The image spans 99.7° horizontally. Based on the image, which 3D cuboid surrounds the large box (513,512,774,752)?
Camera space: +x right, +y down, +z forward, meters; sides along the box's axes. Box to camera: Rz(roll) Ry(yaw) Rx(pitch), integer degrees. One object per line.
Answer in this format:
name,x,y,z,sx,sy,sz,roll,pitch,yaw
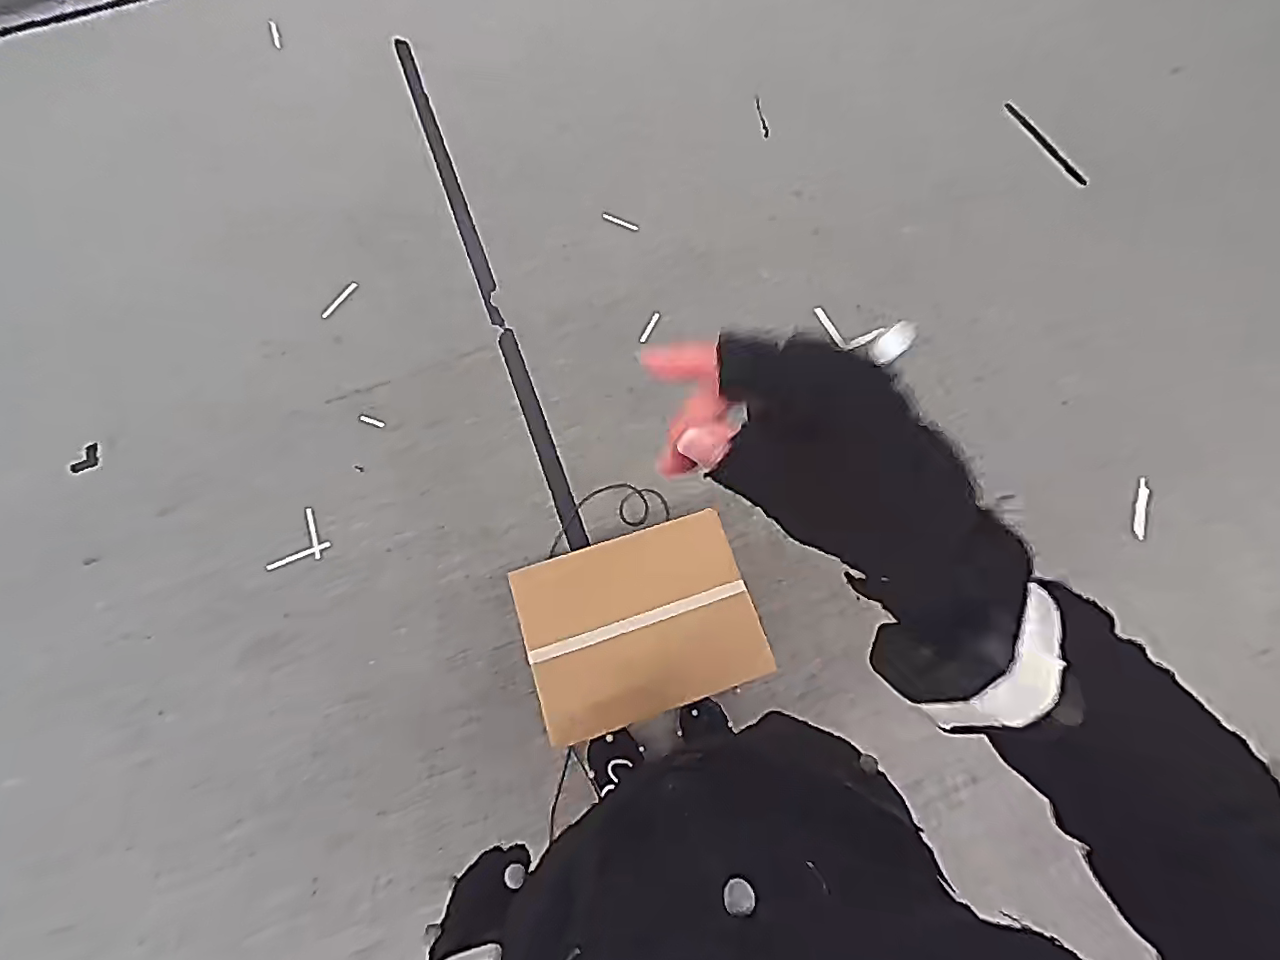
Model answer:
large box,0.000,0.303,1.103,0.408,0.320,0.320,-17,70,-7
